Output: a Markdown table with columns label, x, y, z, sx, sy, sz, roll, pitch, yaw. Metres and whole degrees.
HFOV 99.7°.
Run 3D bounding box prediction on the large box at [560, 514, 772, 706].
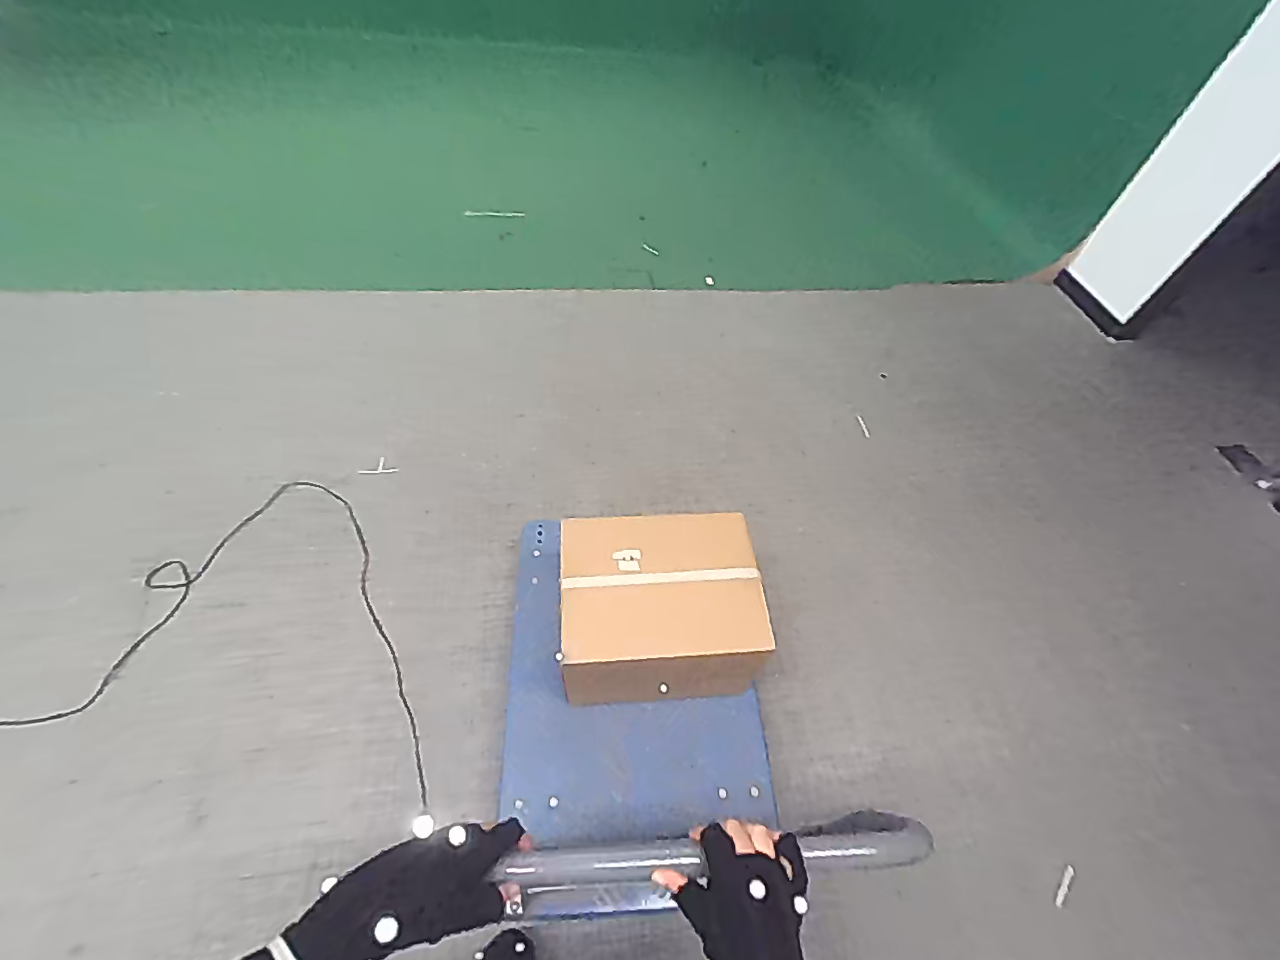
| label | x | y | z | sx | sy | sz | roll | pitch | yaw |
| --- | --- | --- | --- | --- | --- | --- | --- | --- | --- |
| large box | 0.035 | 0.295 | 1.210 | 0.408 | 0.320 | 0.320 | -3 | 53 | -5 |
